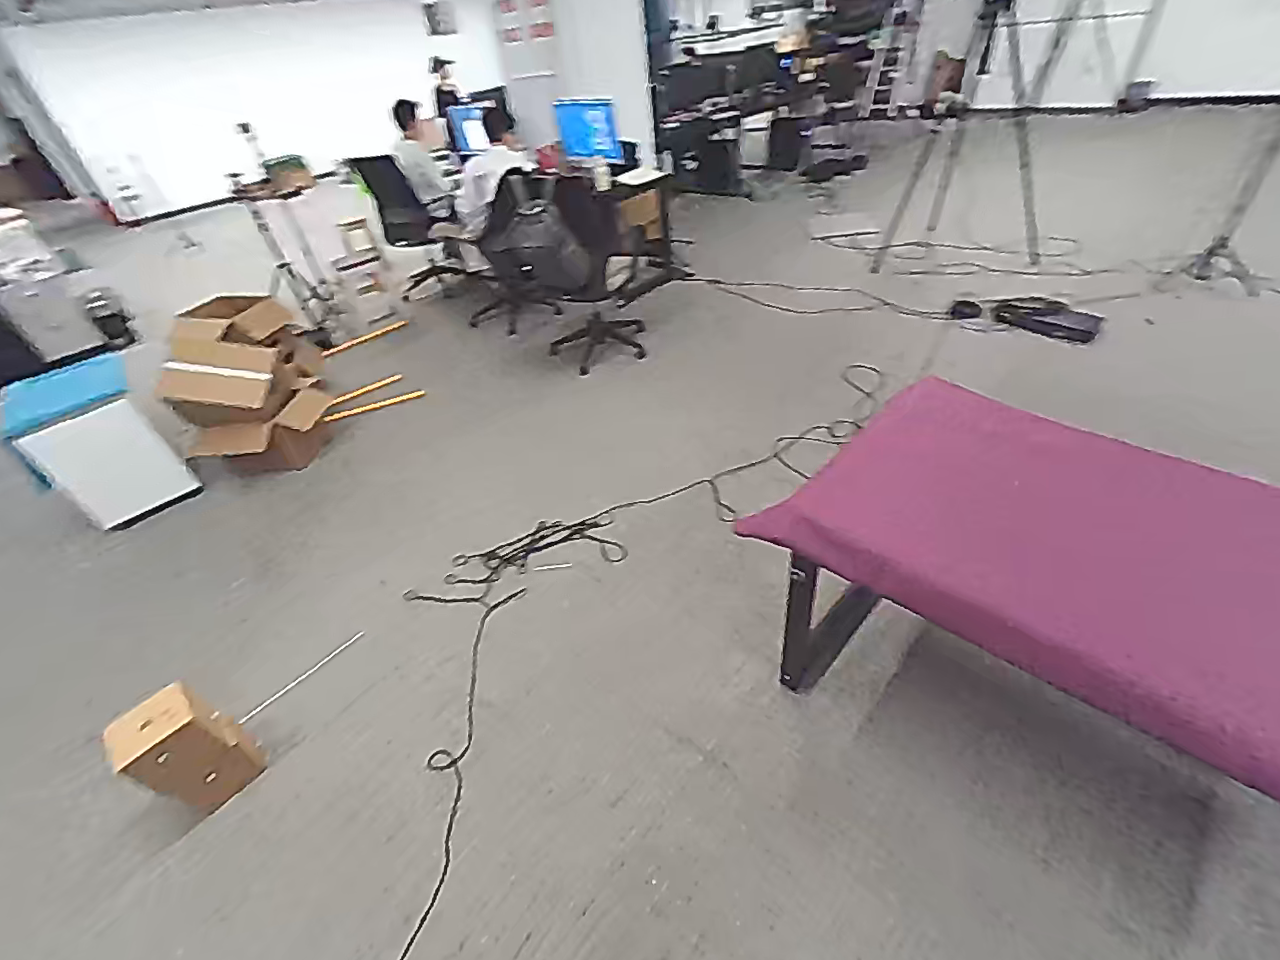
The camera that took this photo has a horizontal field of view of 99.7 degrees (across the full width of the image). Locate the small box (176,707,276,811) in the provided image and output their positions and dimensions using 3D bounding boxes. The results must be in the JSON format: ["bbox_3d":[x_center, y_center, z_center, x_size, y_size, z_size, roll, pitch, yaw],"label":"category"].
[{"bbox_3d":[-1.200,0.806,1.556,0.168,0.176,0.179,27,51,35],"label":"small box"}]

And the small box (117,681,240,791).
[{"bbox_3d":[-1.229,0.687,1.446,0.168,0.176,0.179,28,52,35],"label":"small box"}]
